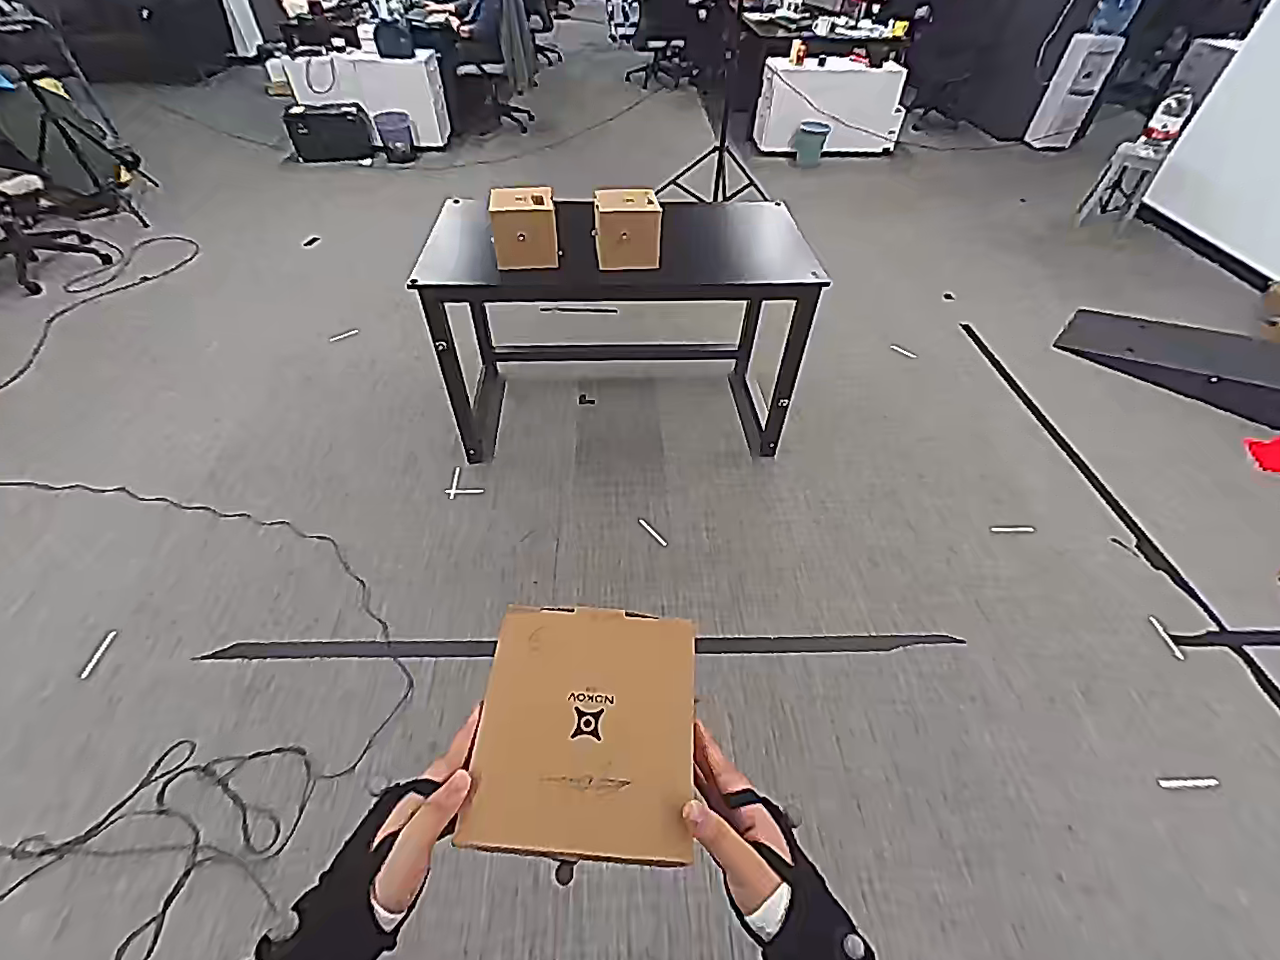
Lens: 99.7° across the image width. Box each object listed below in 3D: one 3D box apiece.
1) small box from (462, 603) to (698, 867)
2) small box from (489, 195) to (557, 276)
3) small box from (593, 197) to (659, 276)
[{"bbox_3d":[-0.041,0.231,0.484,0.168,0.176,0.179,4,53,1],"label":"small box"},{"bbox_3d":[-0.336,-0.716,1.588,0.179,0.176,0.168,-5,47,-6],"label":"small box"},{"bbox_3d":[-0.042,-0.719,1.602,0.179,0.176,0.168,-5,47,-6],"label":"small box"}]
